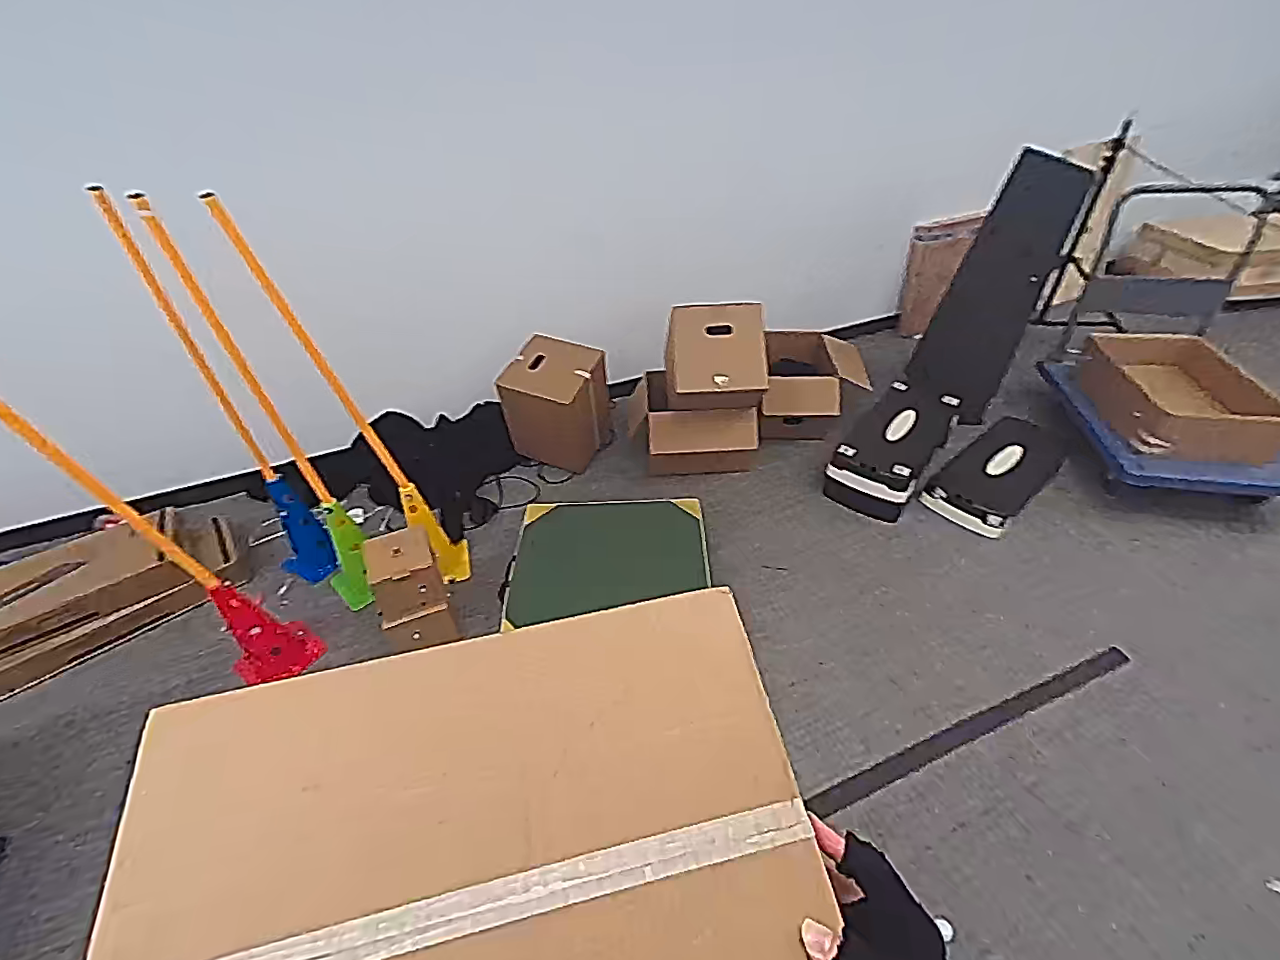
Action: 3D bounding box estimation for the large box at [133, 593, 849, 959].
[{"bbox_3d":[-0.092,0.331,0.442,0.408,0.320,0.320,-10,59,-7],"label":"large box"}]
